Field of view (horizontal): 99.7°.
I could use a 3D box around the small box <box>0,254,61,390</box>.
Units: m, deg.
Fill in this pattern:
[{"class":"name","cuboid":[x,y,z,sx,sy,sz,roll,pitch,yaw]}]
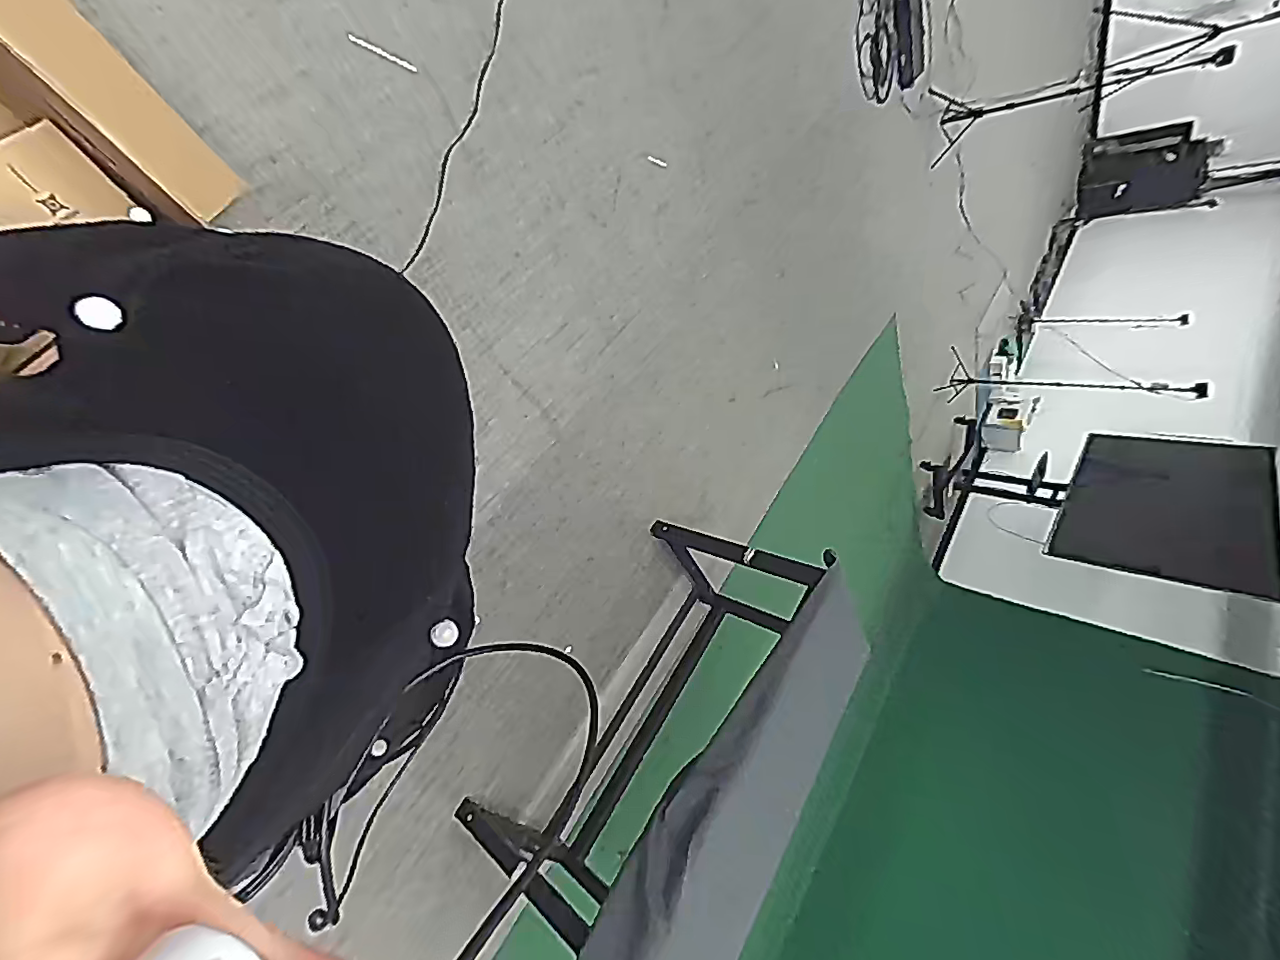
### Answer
[{"class":"small box","cuboid":[-0.786,-0.193,0.558,0.179,0.176,0.168,32,89,-27]}]
